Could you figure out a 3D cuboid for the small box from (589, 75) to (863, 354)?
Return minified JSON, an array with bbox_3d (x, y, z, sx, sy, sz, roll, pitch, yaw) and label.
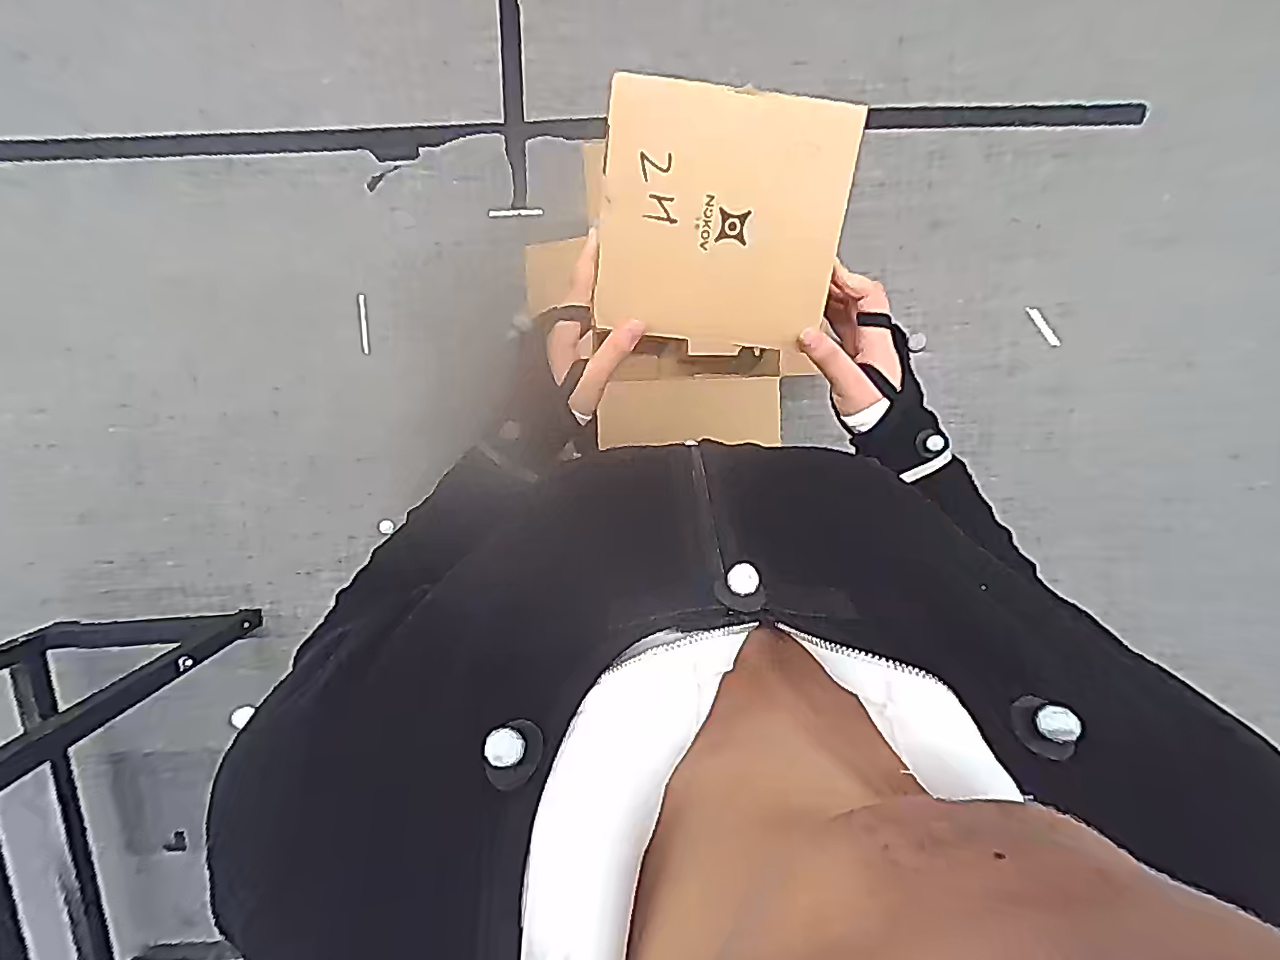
[{"bbox_3d":[0.056,-0.209,0.462,0.179,0.176,0.168,6,109,-2],"label":"small box"}]
